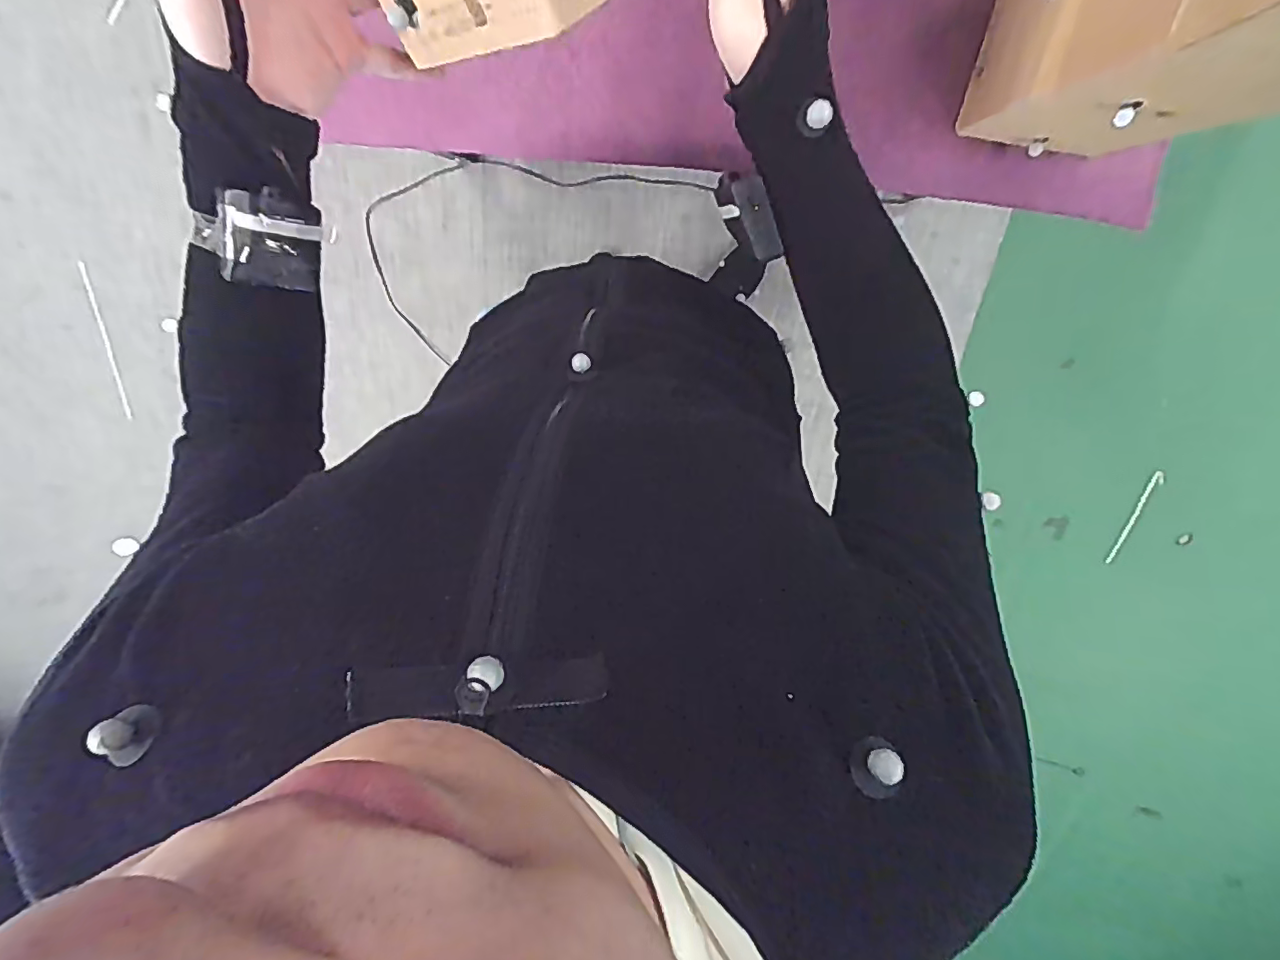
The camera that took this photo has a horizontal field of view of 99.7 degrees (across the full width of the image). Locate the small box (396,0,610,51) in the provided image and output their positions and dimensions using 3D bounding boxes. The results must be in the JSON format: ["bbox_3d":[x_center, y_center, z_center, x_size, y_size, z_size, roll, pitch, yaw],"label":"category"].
[{"bbox_3d":[-0.067,-0.361,0.288,0.179,0.168,0.176,-48,140,-17],"label":"small box"}]

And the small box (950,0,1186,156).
[{"bbox_3d":[0.481,-0.464,0.581,0.179,0.176,0.168,11,113,1],"label":"small box"}]
